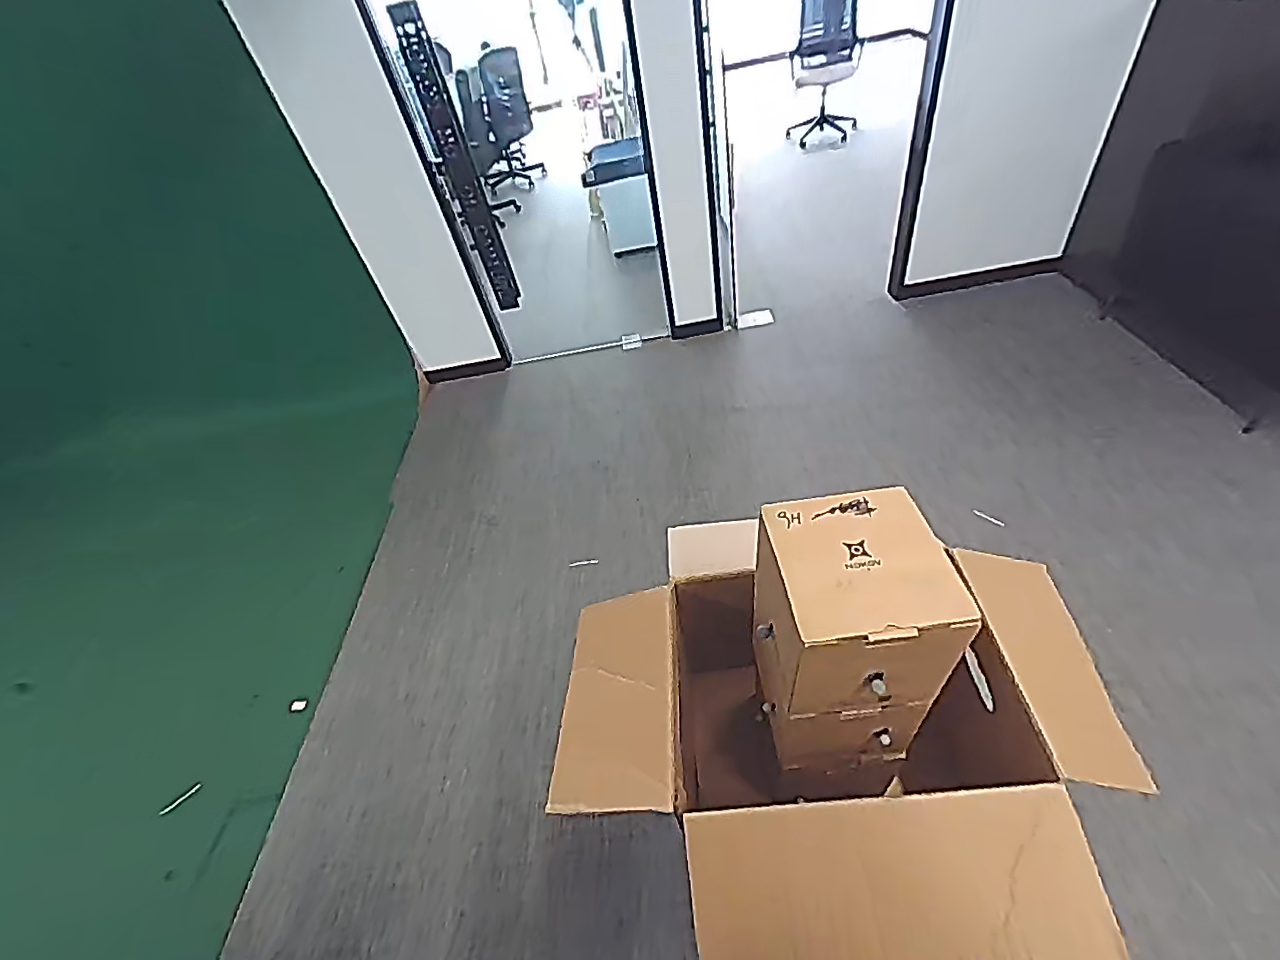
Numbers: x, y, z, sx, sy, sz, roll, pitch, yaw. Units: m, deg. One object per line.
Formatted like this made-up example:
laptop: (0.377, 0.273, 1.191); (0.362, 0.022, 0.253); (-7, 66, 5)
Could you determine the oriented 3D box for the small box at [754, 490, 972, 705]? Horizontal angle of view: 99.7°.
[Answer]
small box: (0.228, 0.138, 0.609); (0.168, 0.176, 0.179); (-7, 46, 2)
